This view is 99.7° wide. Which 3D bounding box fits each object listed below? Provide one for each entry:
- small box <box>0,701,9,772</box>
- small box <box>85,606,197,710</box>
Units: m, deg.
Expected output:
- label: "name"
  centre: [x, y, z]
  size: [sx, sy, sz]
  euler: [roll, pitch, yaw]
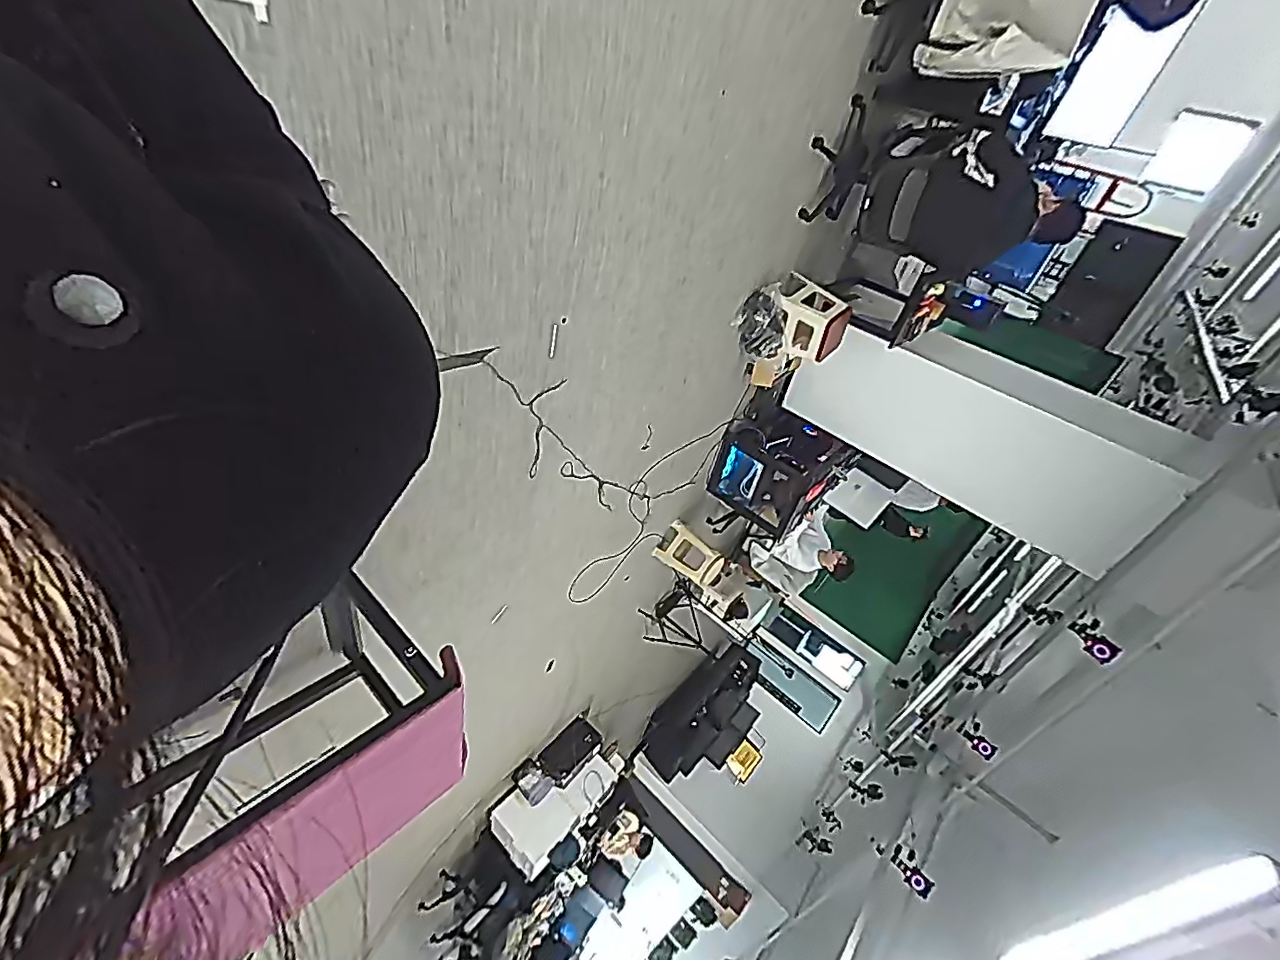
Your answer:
- label: "small box"
  centre: [-1.602, 0.595, 1.242]
  size: [0.179, 0.176, 0.168]
  euler: [-12, 131, -56]
- label: "small box"
  centre: [-1.374, 0.485, 1.493]
  size: [0.168, 0.176, 0.179]
  euler: [-29, 143, -42]
